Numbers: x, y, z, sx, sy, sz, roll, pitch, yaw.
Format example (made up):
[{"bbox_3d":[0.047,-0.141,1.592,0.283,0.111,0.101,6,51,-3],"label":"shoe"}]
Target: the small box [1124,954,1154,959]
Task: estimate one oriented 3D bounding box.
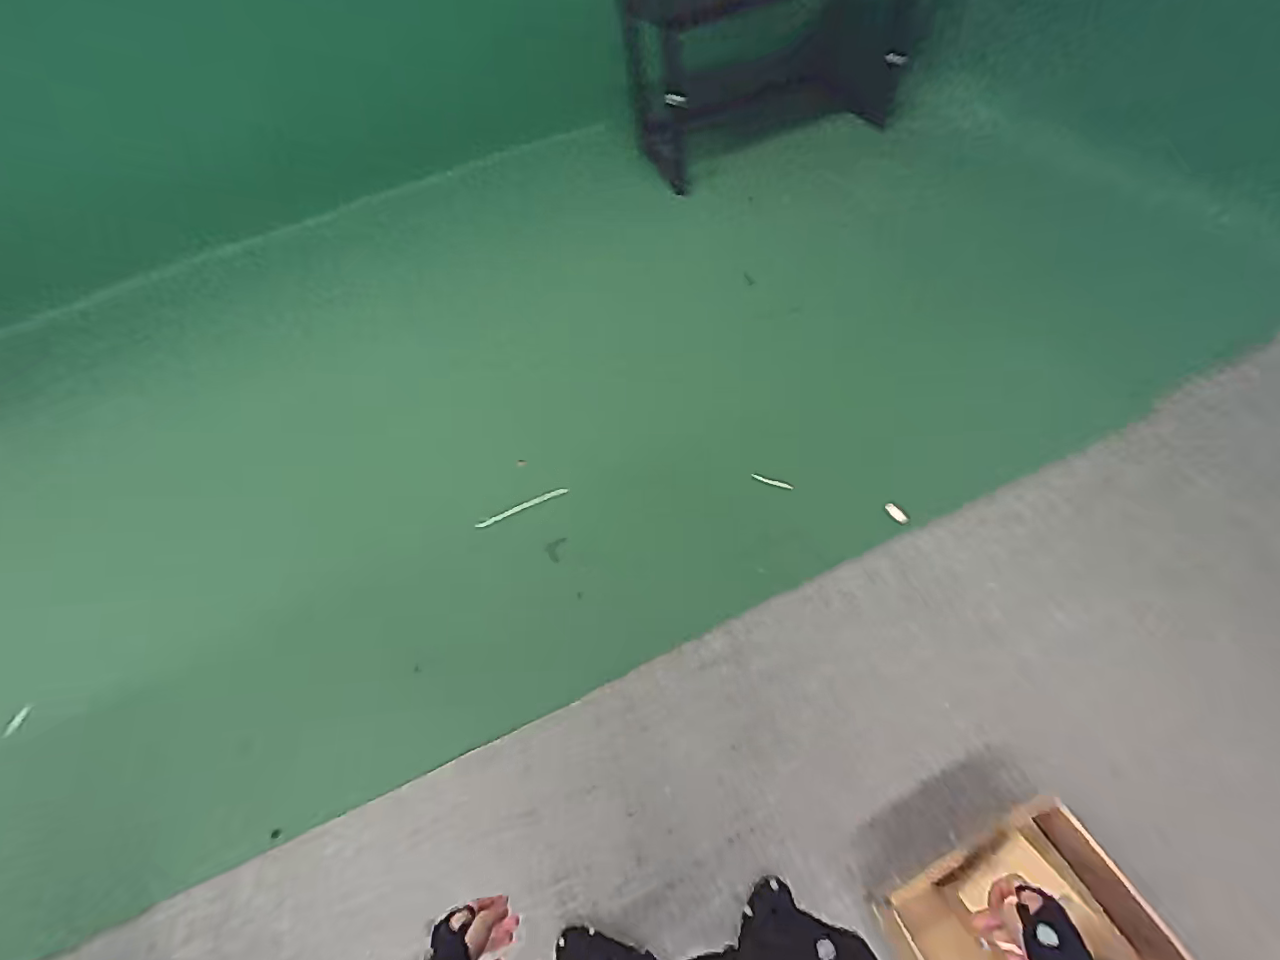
[{"bbox_3d":[0.771,0.823,0.762,0.179,0.176,0.168,-34,57,-13],"label":"small box"}]
